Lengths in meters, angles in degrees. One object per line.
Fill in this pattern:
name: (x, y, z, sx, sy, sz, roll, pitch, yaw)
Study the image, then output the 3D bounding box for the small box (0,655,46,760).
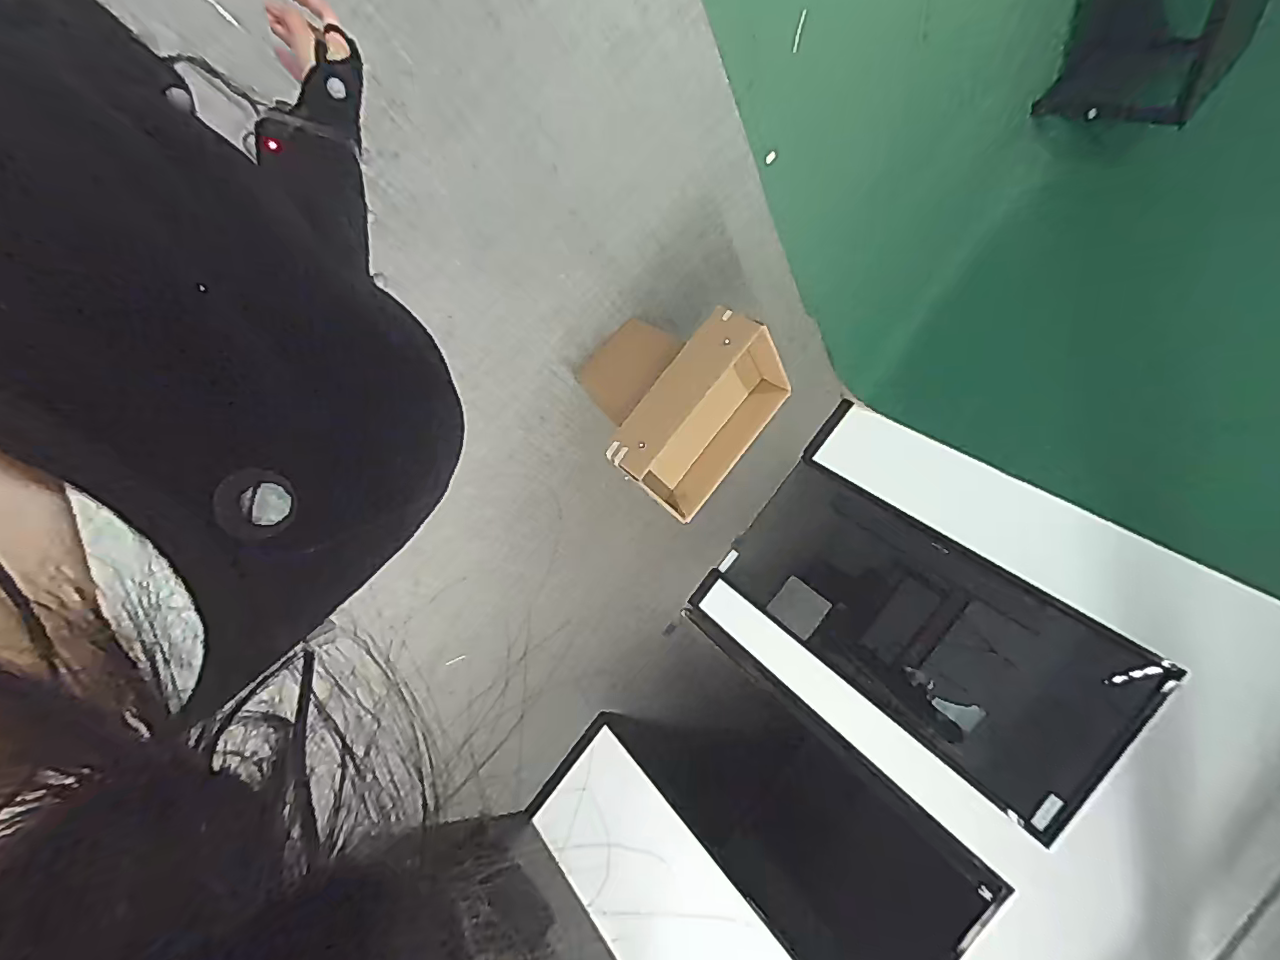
small box: (-1.330, 0.456, 1.057, 0.168, 0.176, 0.179, -41, 141, -14)
